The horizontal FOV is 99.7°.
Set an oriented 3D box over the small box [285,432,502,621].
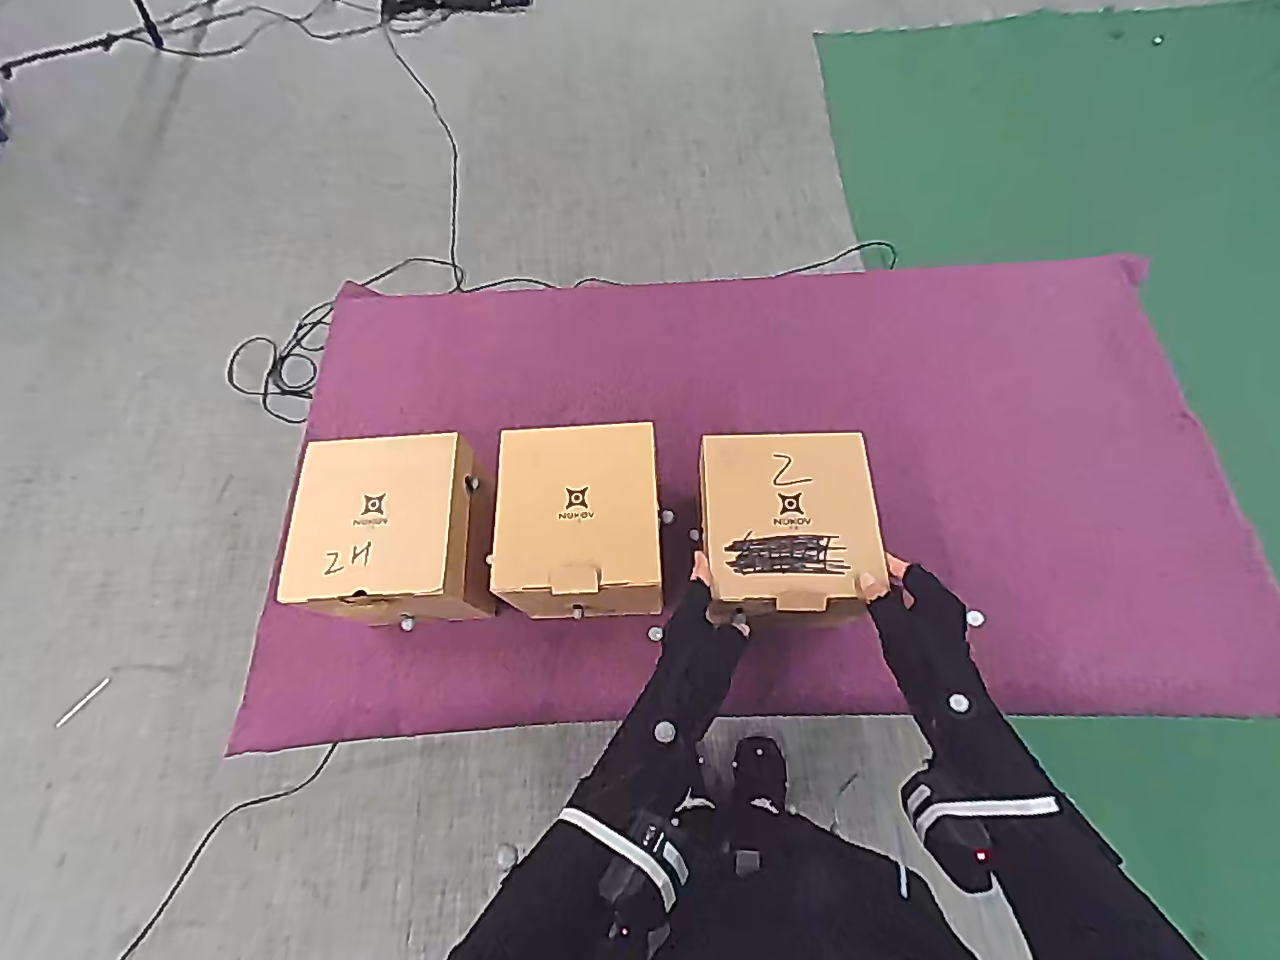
[{"bbox_3d":[-0.267,0.062,0.633,0.168,0.176,0.179,-4,68,2],"label":"small box"}]
